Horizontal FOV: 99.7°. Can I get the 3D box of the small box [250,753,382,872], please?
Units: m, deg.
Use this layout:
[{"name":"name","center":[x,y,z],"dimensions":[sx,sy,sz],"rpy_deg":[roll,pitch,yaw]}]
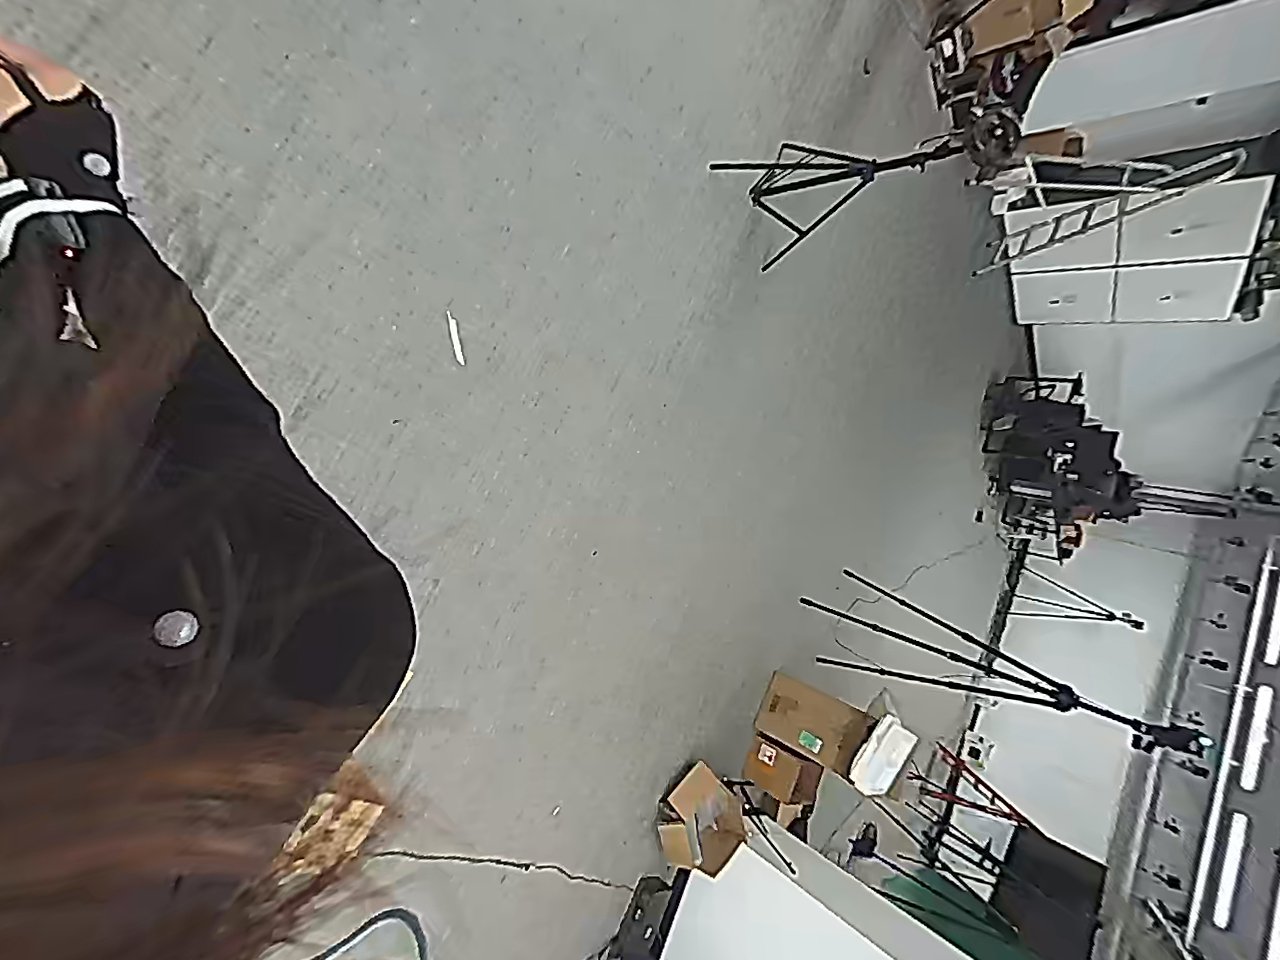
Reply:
[{"name":"small box","center":[-0.747,0.761,1.248],"dimensions":[0.168,0.176,0.179],"rpy_deg":[-58,136,-19]}]
